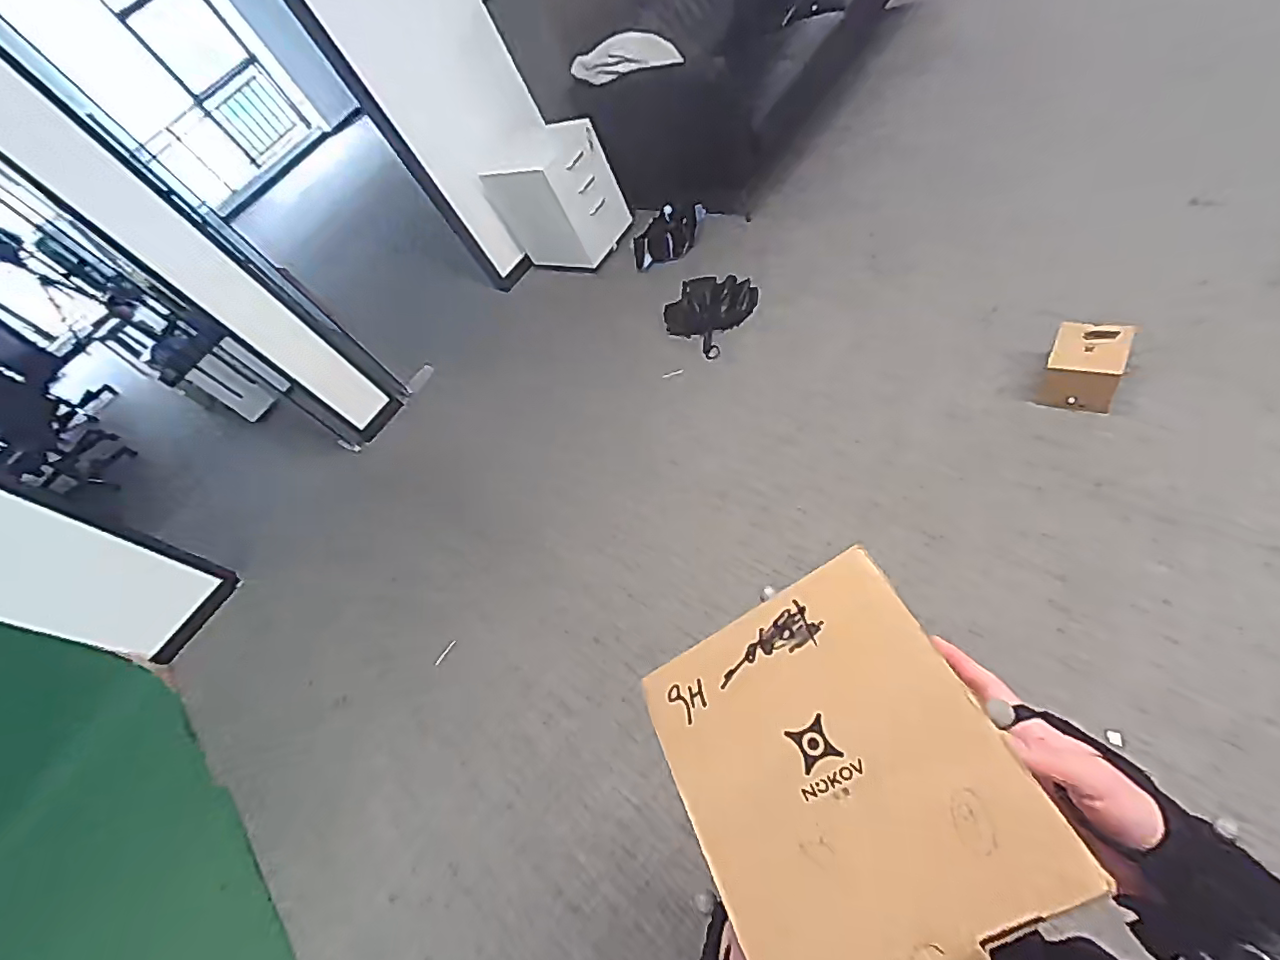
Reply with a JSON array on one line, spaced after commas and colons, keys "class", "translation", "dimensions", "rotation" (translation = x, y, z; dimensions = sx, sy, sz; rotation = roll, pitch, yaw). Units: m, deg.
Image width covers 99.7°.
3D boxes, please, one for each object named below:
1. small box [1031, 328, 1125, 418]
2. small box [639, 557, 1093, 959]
[{"class": "small box", "translation": [1.246, -0.306, 1.548], "dimensions": [0.168, 0.176, 0.179], "rotation": [17, 67, 35]}, {"class": "small box", "translation": [0.133, 0.178, 0.352], "dimensions": [0.168, 0.176, 0.179], "rotation": [-35, 56, 13]}]
